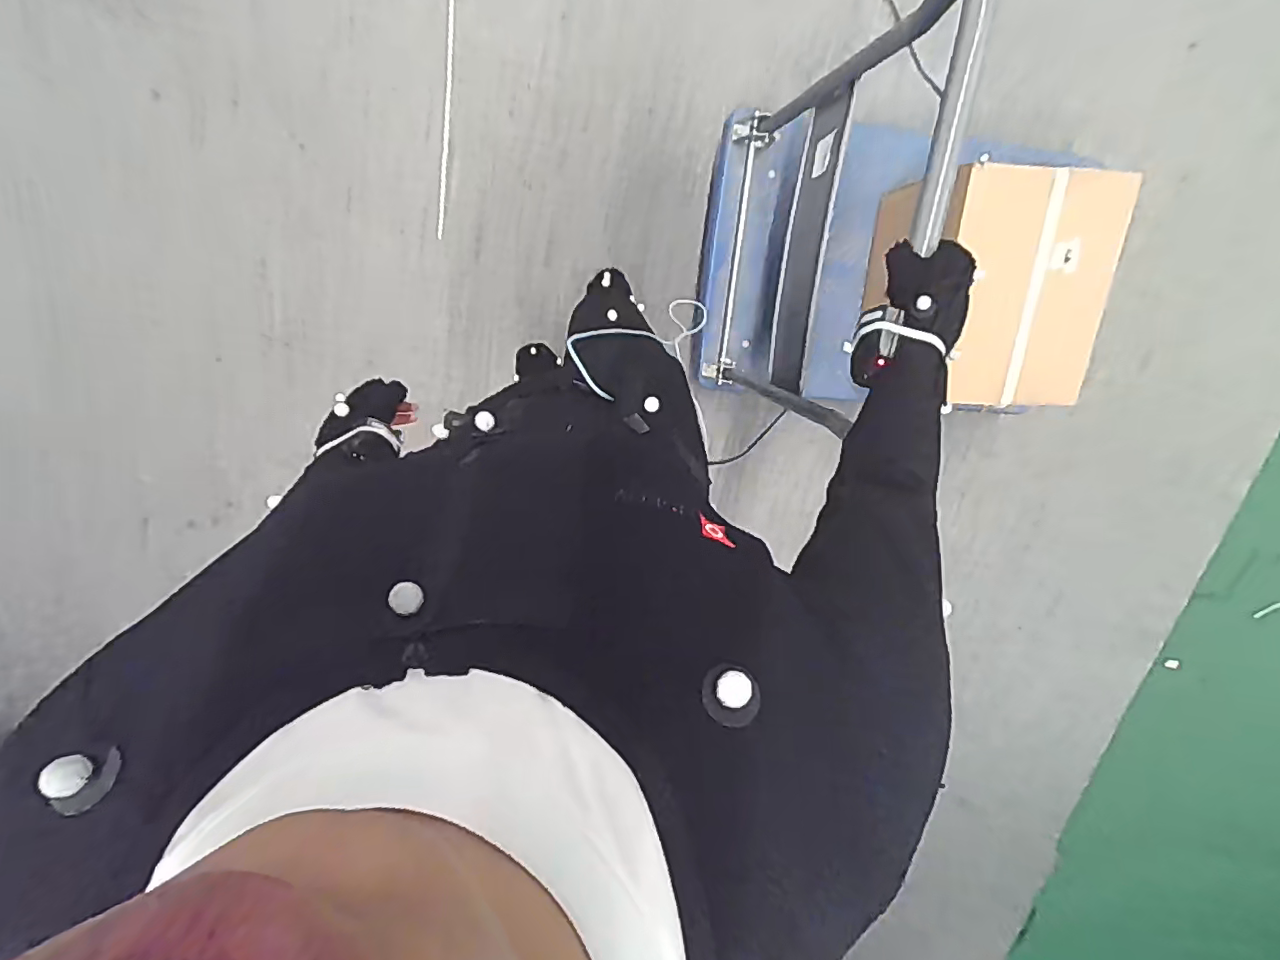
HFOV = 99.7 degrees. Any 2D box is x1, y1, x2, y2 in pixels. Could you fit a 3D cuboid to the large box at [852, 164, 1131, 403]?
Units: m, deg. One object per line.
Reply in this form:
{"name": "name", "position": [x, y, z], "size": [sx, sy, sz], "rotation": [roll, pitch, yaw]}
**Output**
{"name": "large box", "position": [0.672, -0.380, 1.110], "size": [0.320, 0.320, 0.408], "rotation": [0, 108, -6]}
